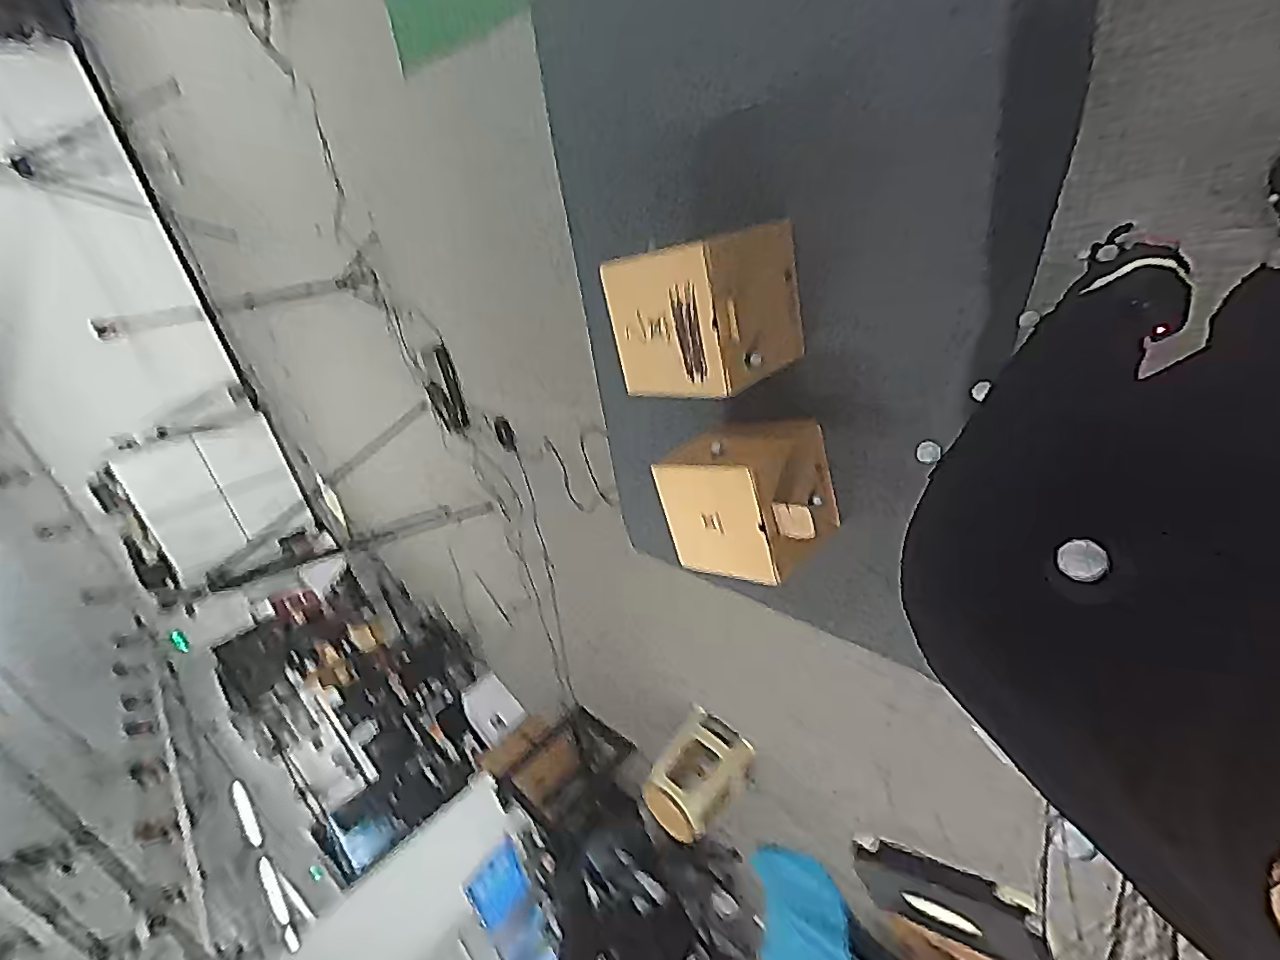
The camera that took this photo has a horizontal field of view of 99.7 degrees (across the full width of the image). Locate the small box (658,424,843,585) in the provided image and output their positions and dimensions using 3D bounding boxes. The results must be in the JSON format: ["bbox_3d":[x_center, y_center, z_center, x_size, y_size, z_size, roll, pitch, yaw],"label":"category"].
[{"bbox_3d":[0.160,0.025,0.773,0.179,0.176,0.168,1,115,48],"label":"small box"}]
